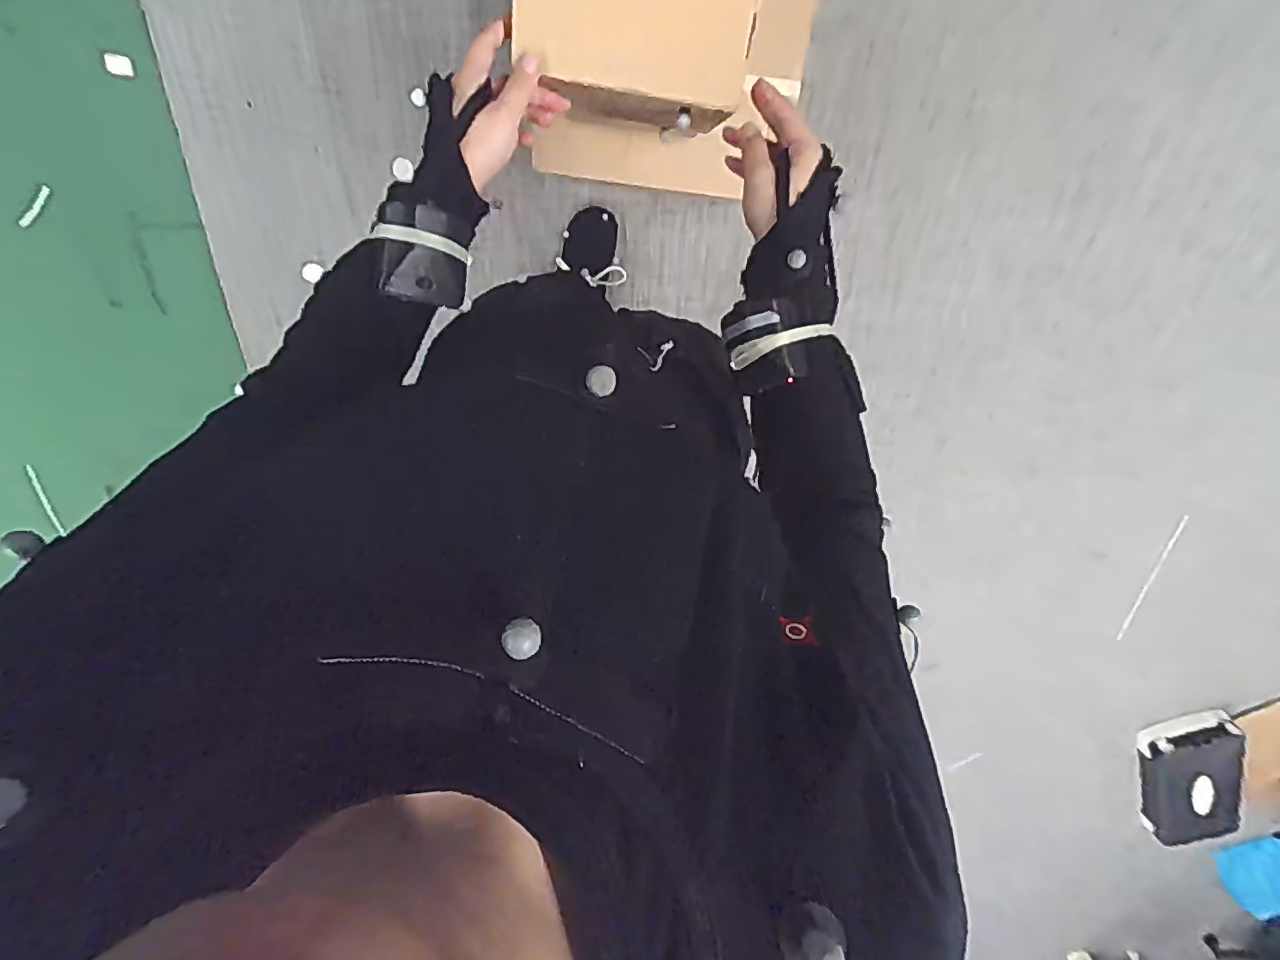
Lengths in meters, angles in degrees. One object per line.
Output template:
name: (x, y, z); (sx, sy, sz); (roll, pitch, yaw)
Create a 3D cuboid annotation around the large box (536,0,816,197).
large box: (0.039, -0.683, 0.936); (0.408, 0.320, 0.320); (5, 118, -5)

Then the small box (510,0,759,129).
small box: (-0.002, -0.400, 0.440); (0.179, 0.176, 0.168); (5, 117, -6)
